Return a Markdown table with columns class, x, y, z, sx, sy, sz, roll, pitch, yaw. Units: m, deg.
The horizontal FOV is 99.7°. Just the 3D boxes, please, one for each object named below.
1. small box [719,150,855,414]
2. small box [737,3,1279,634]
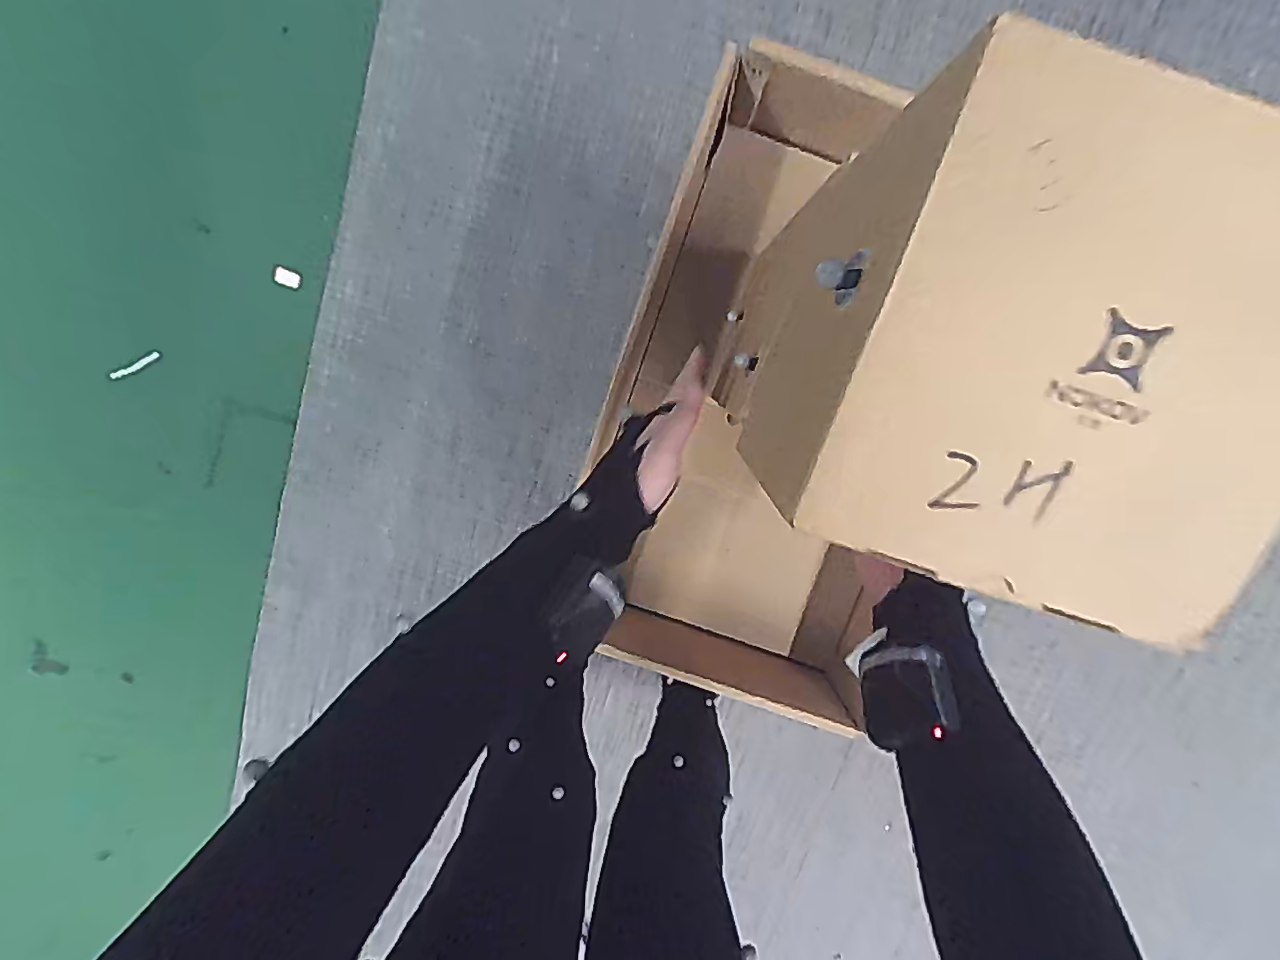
| class | x | y | z | sx | sy | sz | roll | pitch | yaw |
| --- | --- | --- | --- | --- | --- | --- | --- | --- | --- |
| small box | 0.169 | -0.111 | 0.423 | 0.168 | 0.176 | 0.179 | 19 | 104 | -2 |
| small box | 0.156 | -0.062 | 0.266 | 0.168 | 0.176 | 0.179 | 18 | 104 | -1 |
